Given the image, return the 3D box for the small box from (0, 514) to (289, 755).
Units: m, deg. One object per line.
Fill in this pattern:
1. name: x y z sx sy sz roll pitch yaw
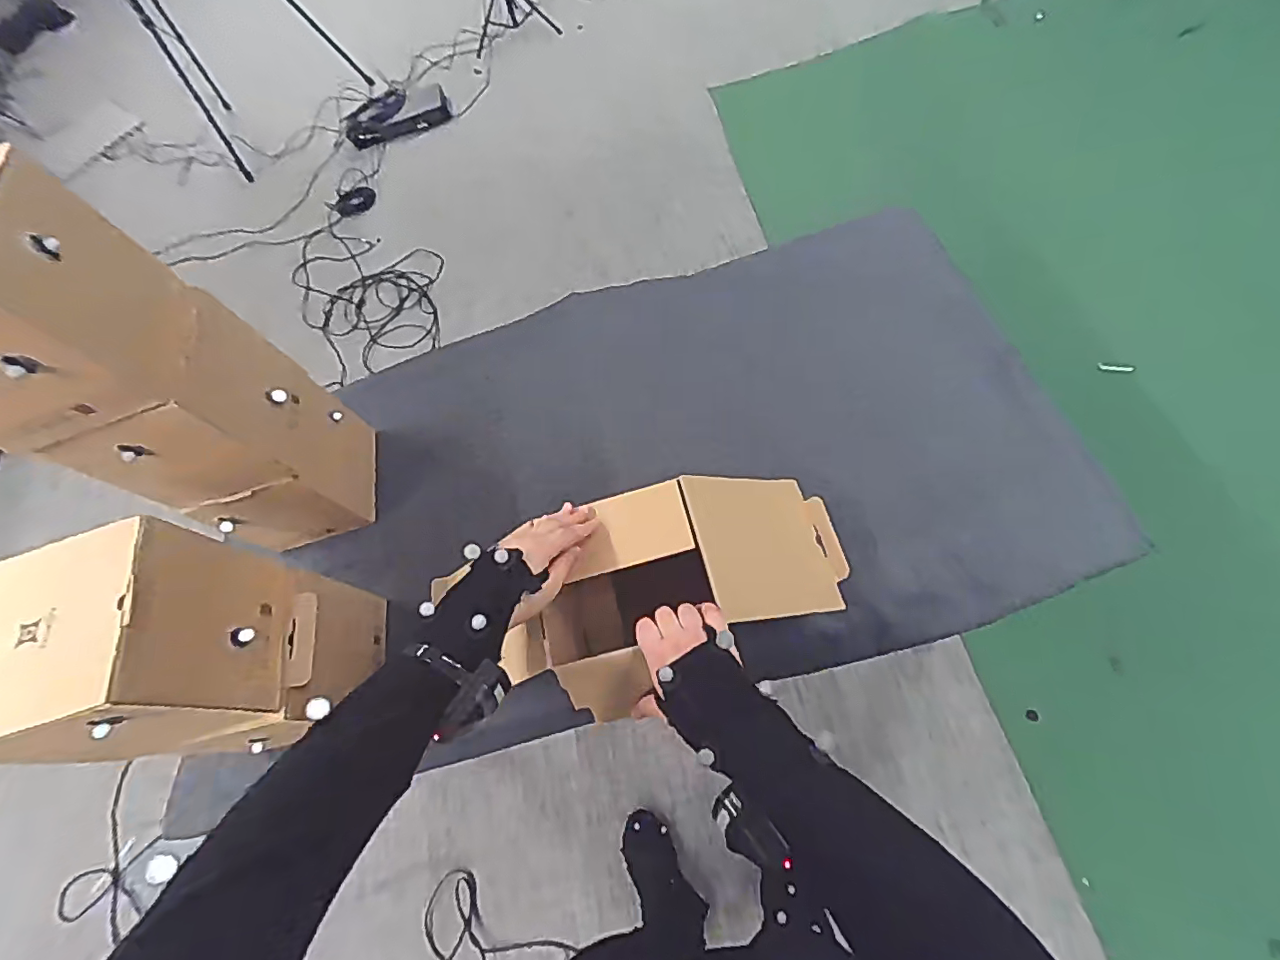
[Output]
1. small box: -0.482 0.159 0.523 0.179 0.176 0.168 -18 63 3

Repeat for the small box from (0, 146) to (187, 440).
1. small box: -0.571 -0.156 0.501 0.168 0.176 0.179 -18 63 2

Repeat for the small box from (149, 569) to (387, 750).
1. small box: -0.436 0.224 0.666 0.179 0.176 0.168 -15 64 5

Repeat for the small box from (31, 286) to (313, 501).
1. small box: -0.535 -0.092 0.646 0.179 0.176 0.168 -15 65 4
